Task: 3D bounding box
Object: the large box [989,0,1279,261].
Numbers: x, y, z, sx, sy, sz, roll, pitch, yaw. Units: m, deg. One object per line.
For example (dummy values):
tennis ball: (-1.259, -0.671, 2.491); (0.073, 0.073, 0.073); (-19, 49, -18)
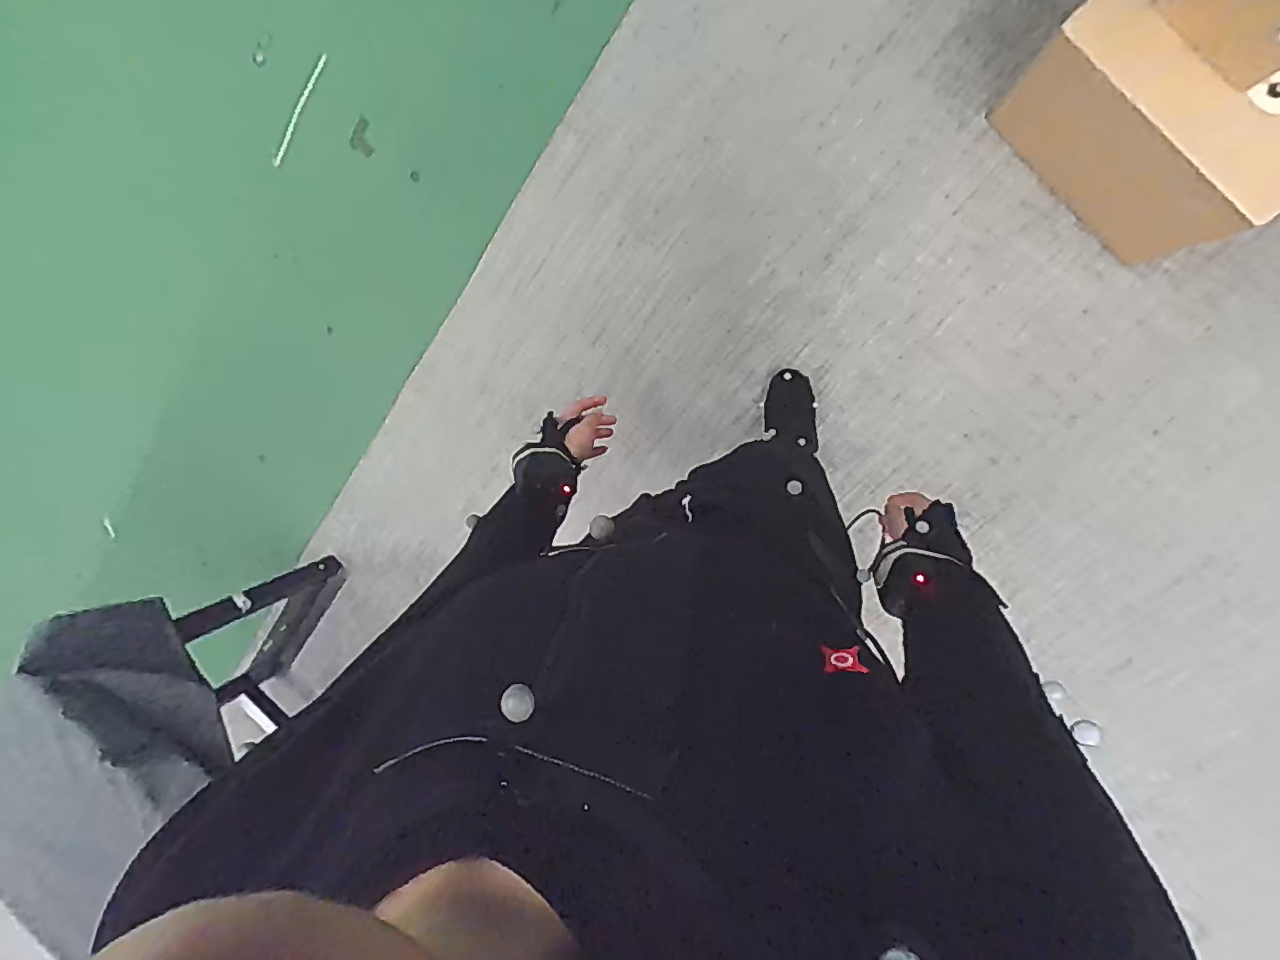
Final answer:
large box: (0.875, -0.630, 0.861); (0.408, 0.320, 0.320); (47, 110, 2)
